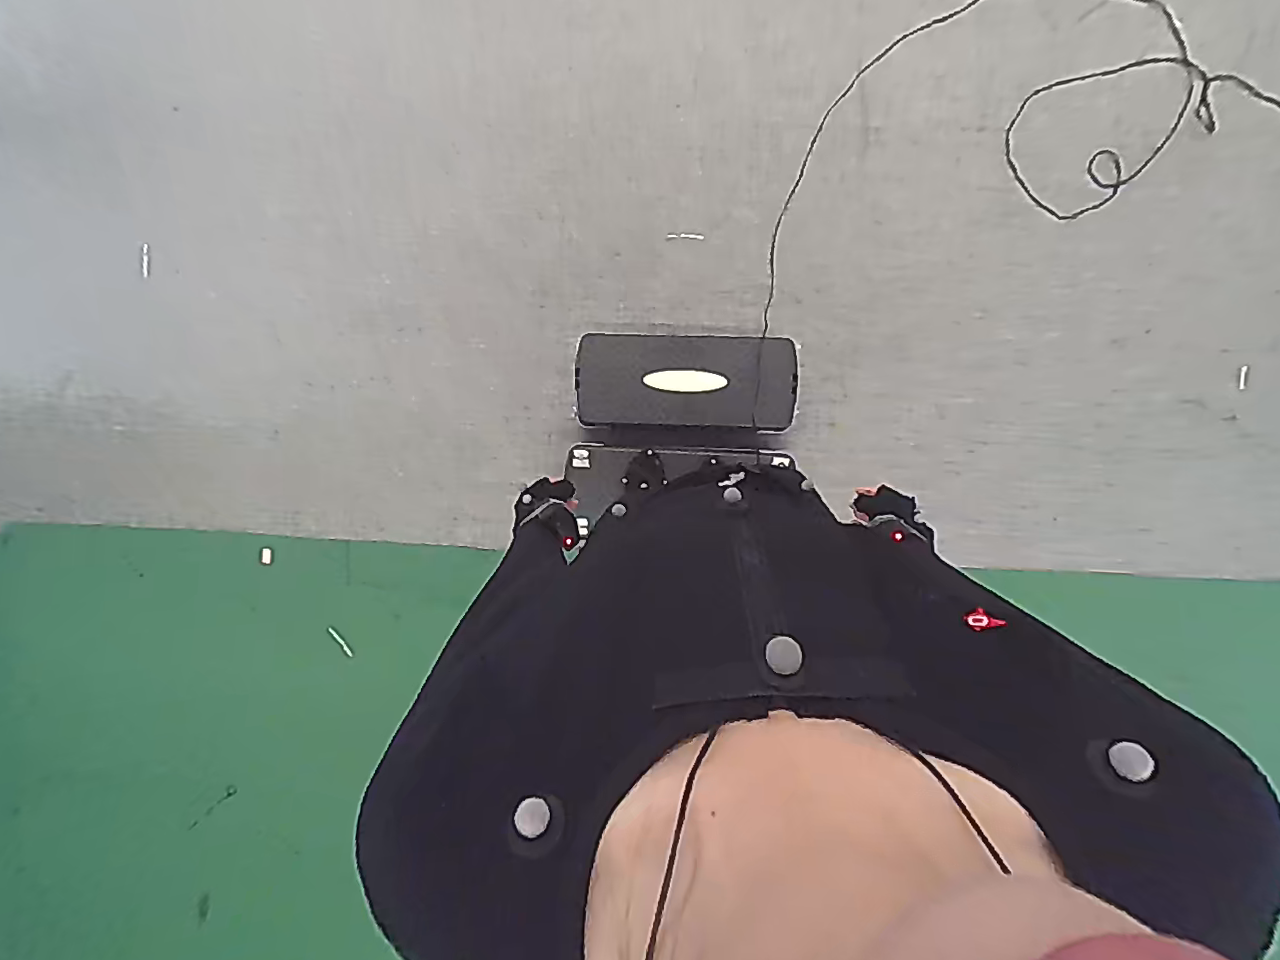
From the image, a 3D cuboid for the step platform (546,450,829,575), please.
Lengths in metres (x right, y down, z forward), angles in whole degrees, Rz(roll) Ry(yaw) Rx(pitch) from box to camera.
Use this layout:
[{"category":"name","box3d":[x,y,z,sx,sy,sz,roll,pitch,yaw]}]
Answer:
[{"category":"step platform","box3d":[0.115,0.076,1.394,0.684,0.204,0.286,2,91,1]}]
